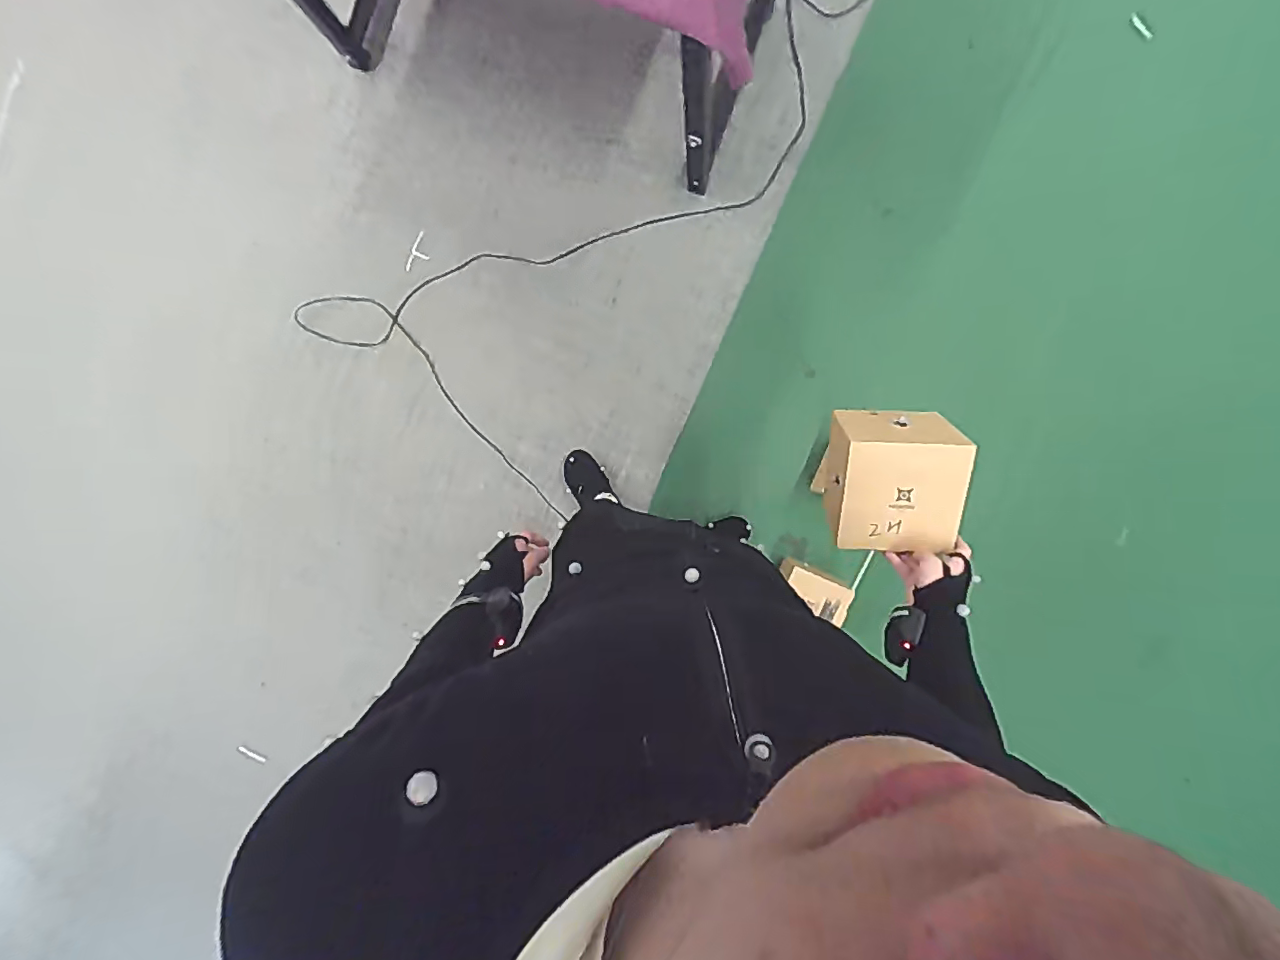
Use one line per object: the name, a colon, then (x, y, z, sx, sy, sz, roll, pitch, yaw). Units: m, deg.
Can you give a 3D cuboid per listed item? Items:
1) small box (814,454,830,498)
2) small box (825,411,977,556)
small box: (0.602, -0.005, 1.485, 0.179, 0.176, 0.168, 23, 94, 4)
small box: (0.388, -0.004, 0.840, 0.168, 0.176, 0.179, 3, 113, 11)
